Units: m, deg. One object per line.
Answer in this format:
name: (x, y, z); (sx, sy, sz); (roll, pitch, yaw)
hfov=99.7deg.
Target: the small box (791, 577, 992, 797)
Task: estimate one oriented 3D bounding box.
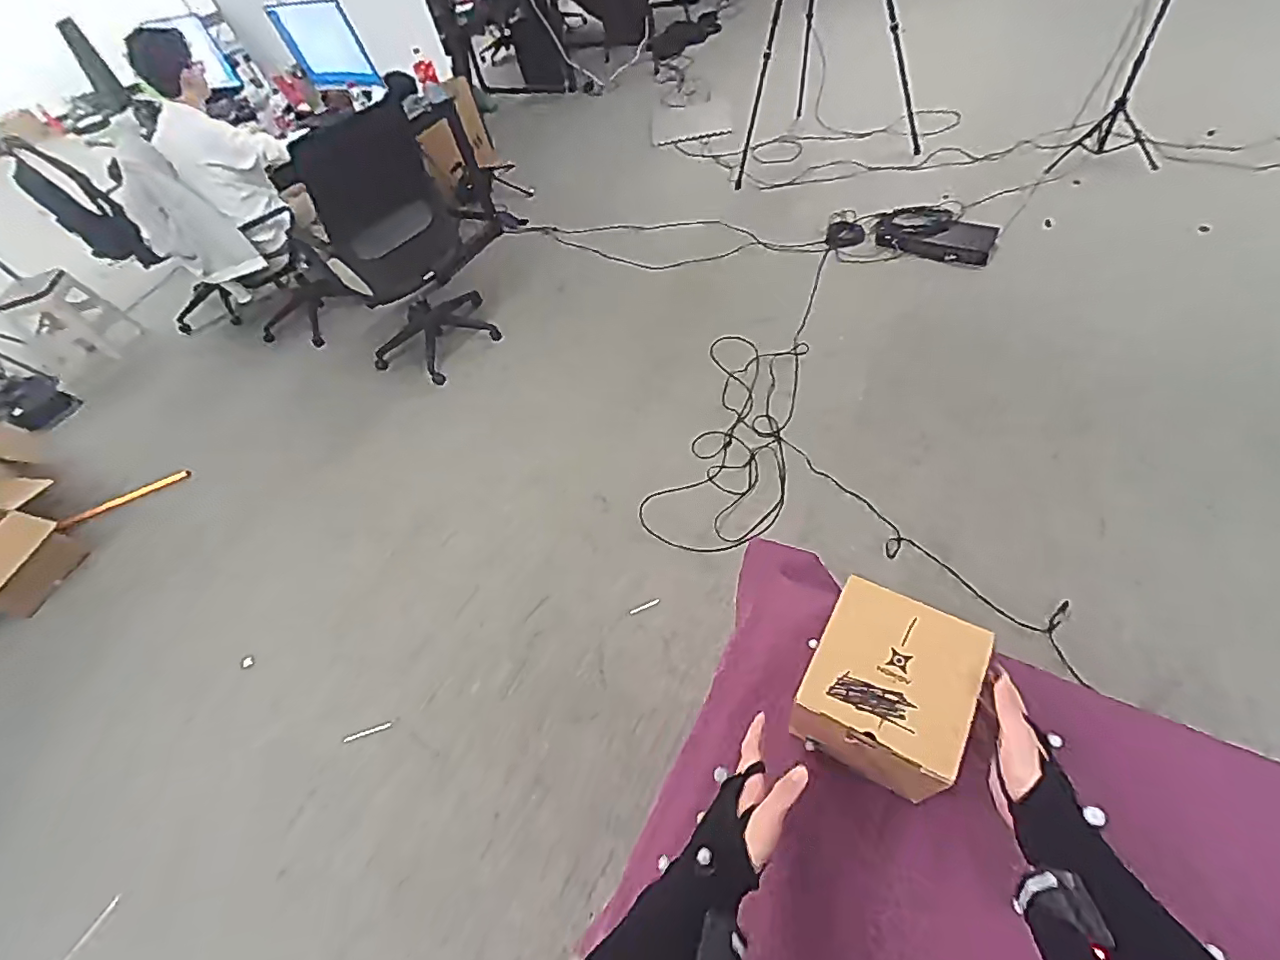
small box: (0.297, 0.257, 0.666); (0.168, 0.176, 0.179); (22, 61, 26)
